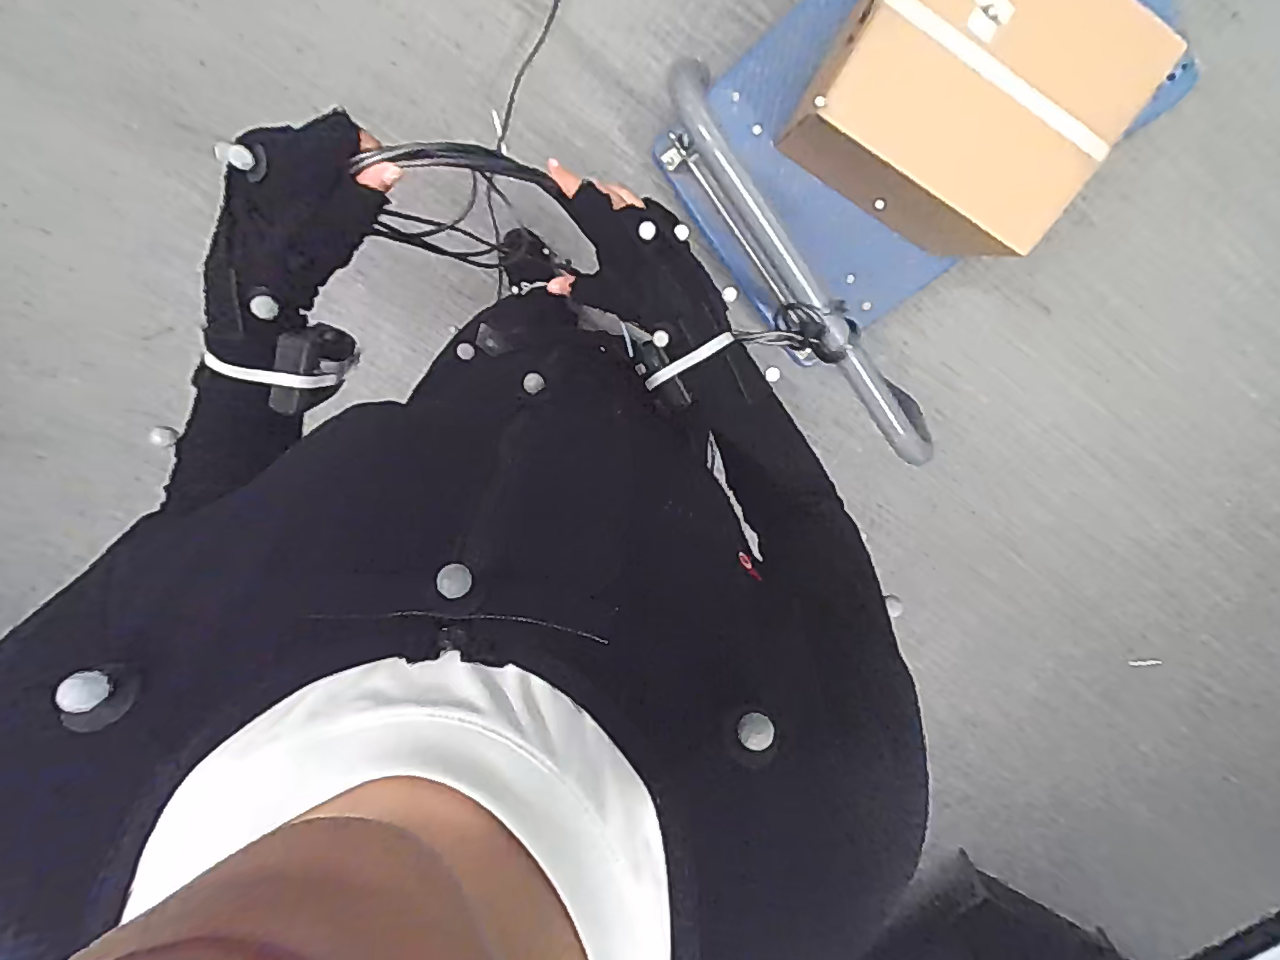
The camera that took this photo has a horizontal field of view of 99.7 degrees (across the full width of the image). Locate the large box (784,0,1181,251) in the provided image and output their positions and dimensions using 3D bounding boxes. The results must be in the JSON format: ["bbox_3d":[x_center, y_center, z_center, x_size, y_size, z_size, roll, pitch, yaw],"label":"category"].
[{"bbox_3d":[0.521,-0.631,0.915,0.408,0.320,0.320,28,111,-9],"label":"large box"}]
